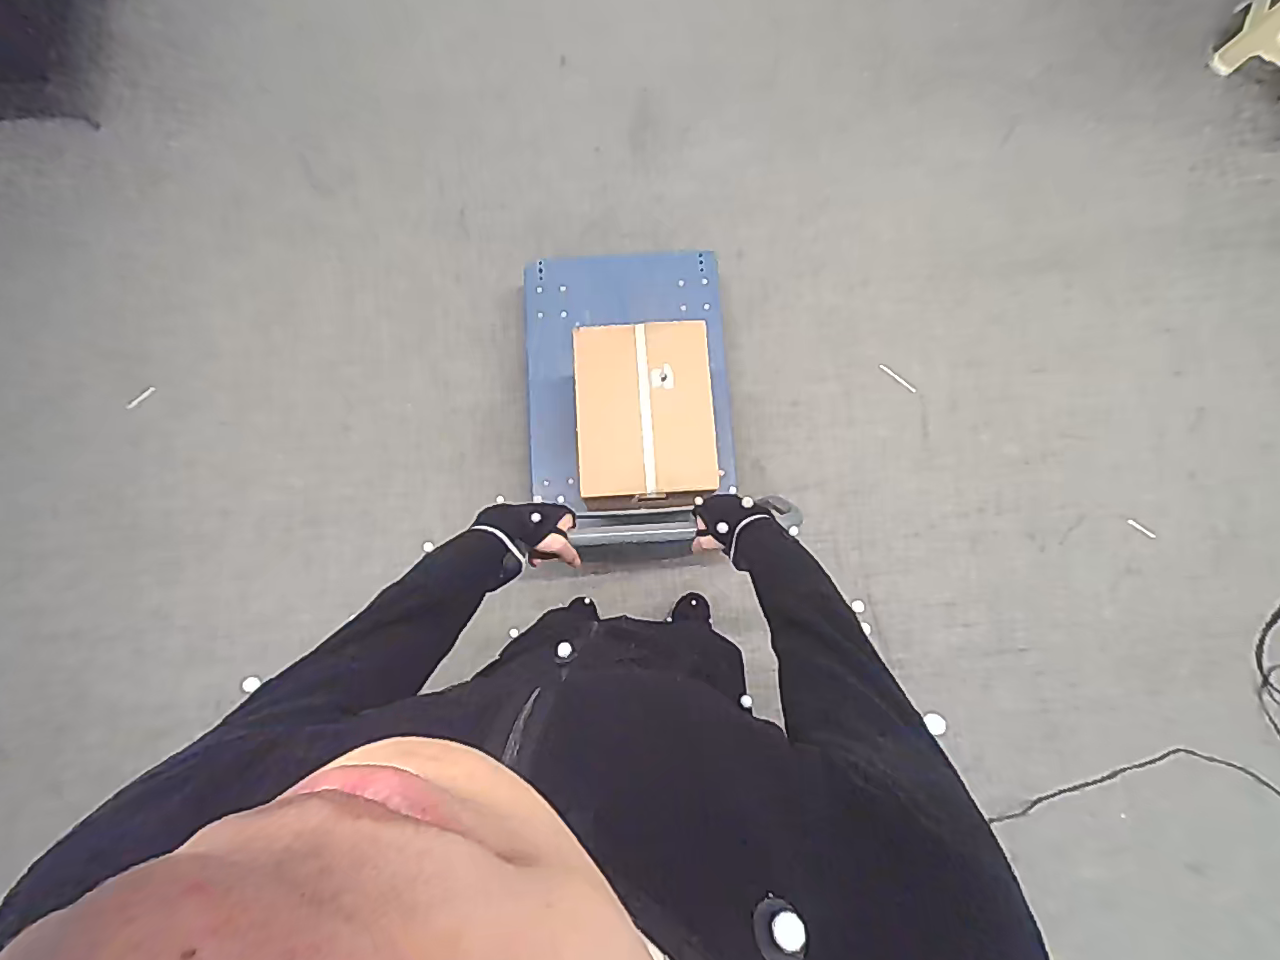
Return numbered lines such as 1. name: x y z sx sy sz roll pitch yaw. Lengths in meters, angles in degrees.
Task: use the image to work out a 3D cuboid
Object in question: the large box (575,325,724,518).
1. large box: 0.016 -0.129 1.362 0.320 0.320 0.408 -3 79 -2
